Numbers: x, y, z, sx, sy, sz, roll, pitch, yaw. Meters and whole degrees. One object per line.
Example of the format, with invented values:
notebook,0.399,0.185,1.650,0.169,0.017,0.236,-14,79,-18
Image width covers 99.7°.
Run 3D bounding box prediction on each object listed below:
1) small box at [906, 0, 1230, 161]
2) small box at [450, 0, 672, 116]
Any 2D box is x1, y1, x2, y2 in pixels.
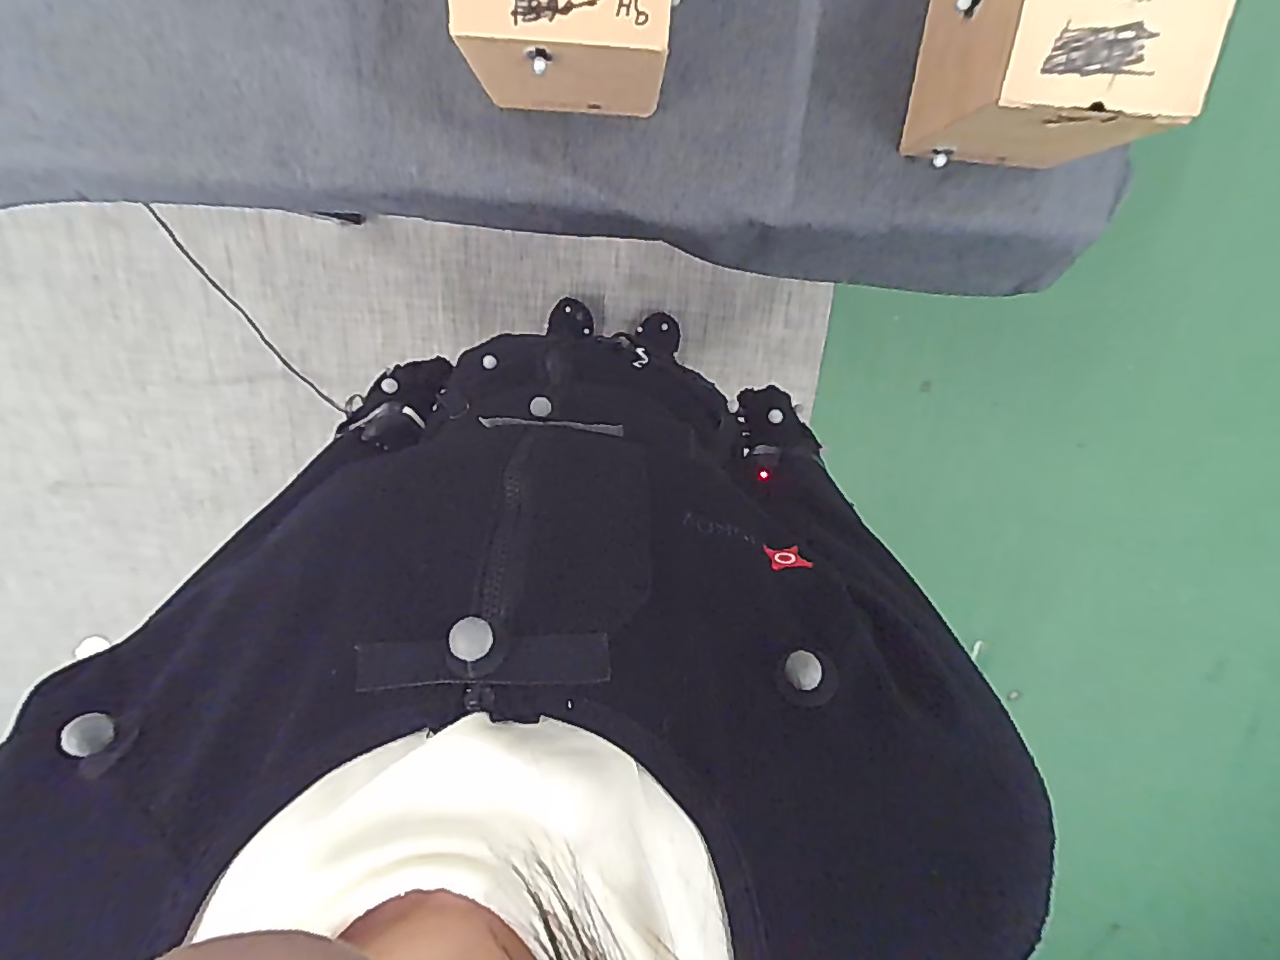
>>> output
small box,0.367,-0.405,0.483,0.168,0.176,0.179,4,108,-3
small box,-0.057,-0.441,0.456,0.168,0.176,0.179,2,109,-3
